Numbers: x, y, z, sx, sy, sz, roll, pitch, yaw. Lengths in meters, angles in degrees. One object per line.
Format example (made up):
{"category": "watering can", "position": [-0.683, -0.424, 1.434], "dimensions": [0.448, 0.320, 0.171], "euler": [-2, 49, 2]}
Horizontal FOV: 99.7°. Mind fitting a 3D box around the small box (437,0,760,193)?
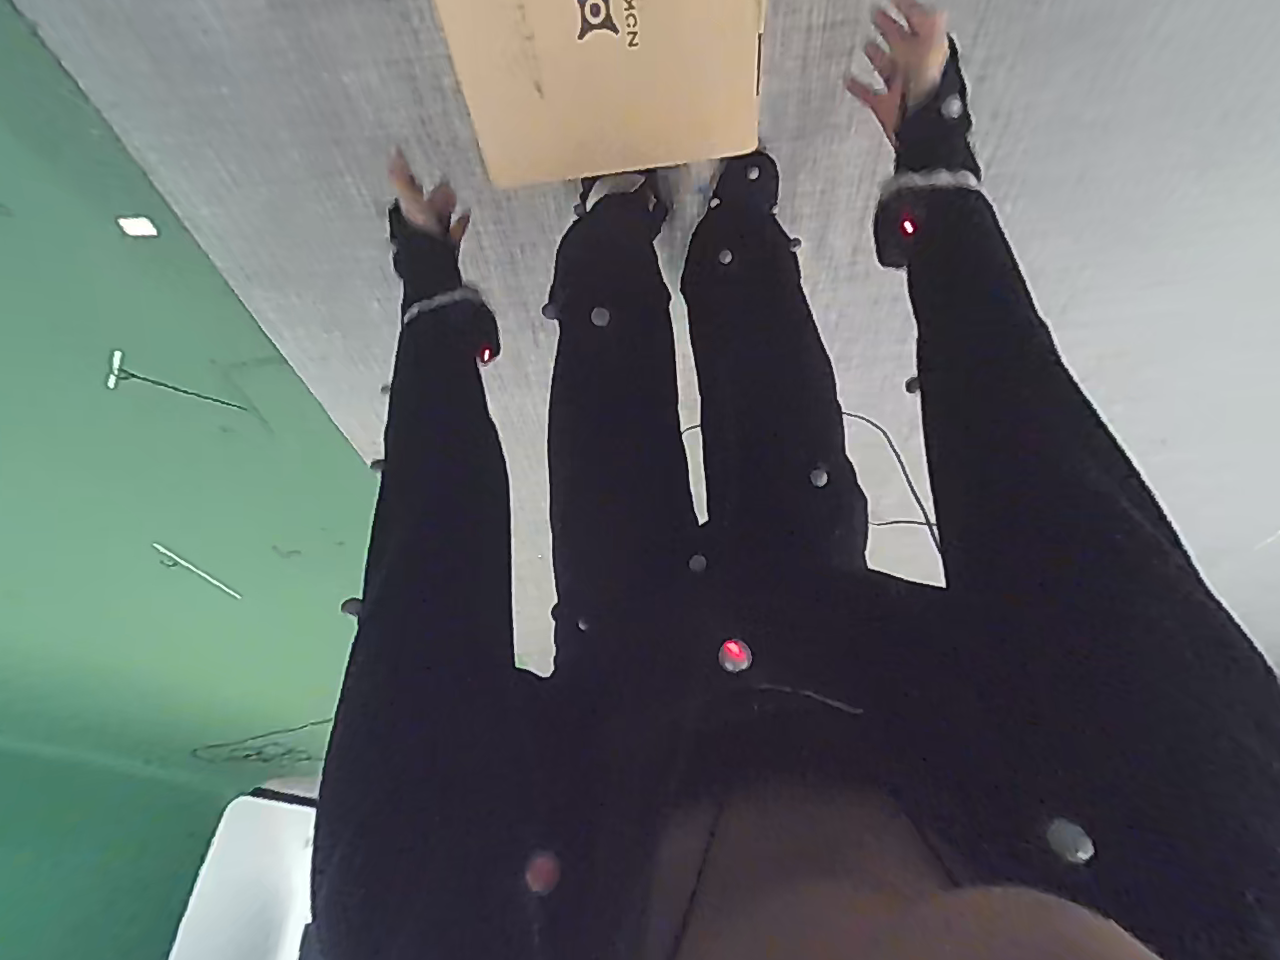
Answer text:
{"category": "small box", "position": [-0.024, -0.315, 0.347], "dimensions": [0.179, 0.176, 0.168], "euler": [-5, 142, 4]}
